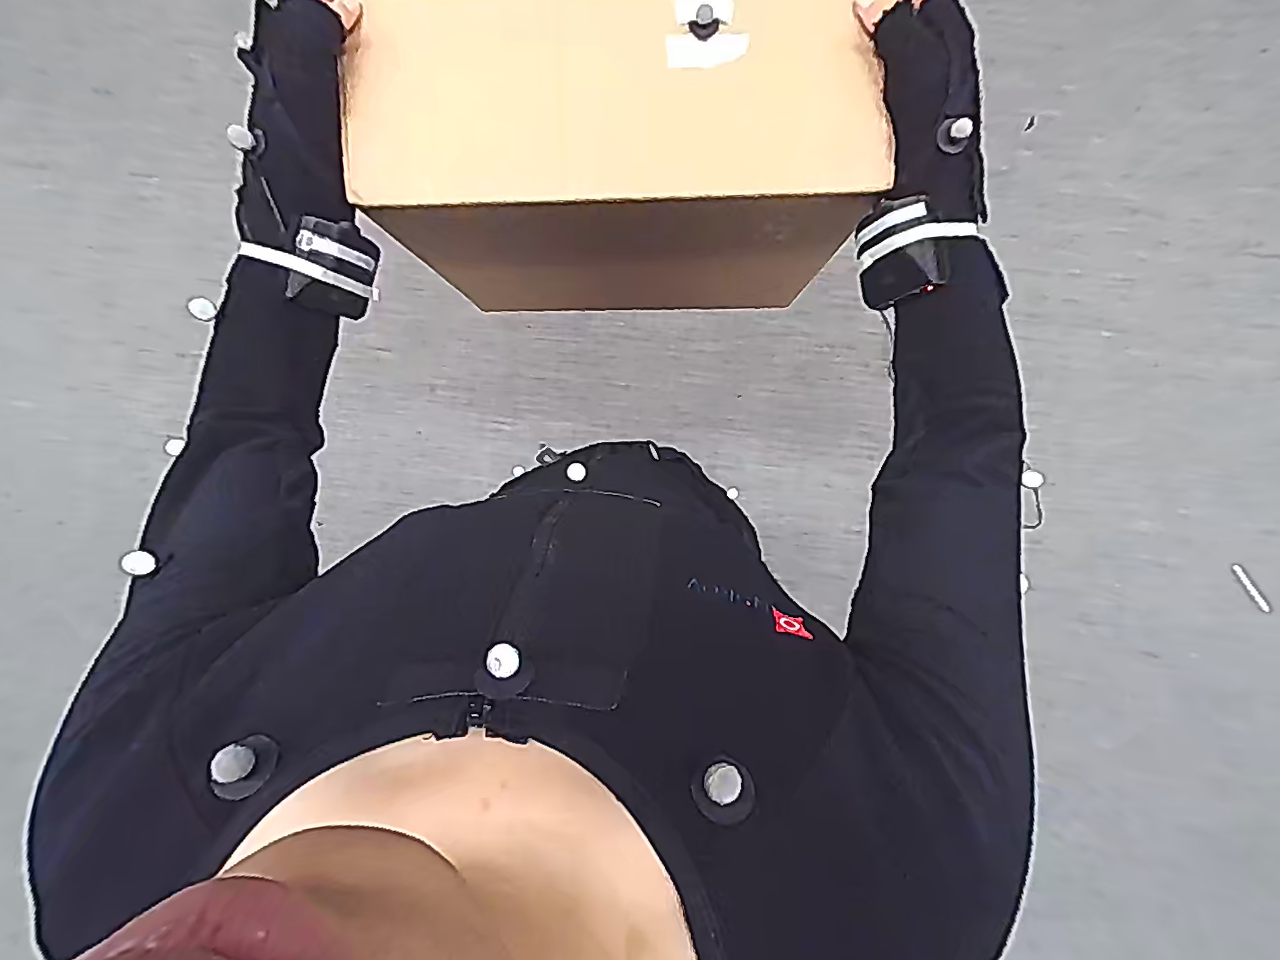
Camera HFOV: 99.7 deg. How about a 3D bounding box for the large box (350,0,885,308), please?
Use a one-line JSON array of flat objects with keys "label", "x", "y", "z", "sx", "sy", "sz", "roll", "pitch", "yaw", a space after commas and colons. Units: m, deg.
[{"label": "large box", "x": -0.017, "y": -0.377, "z": 0.550, "sx": 0.408, "sy": 0.320, "sz": 0.320, "roll": -1, "pitch": 93, "yaw": 2}]
